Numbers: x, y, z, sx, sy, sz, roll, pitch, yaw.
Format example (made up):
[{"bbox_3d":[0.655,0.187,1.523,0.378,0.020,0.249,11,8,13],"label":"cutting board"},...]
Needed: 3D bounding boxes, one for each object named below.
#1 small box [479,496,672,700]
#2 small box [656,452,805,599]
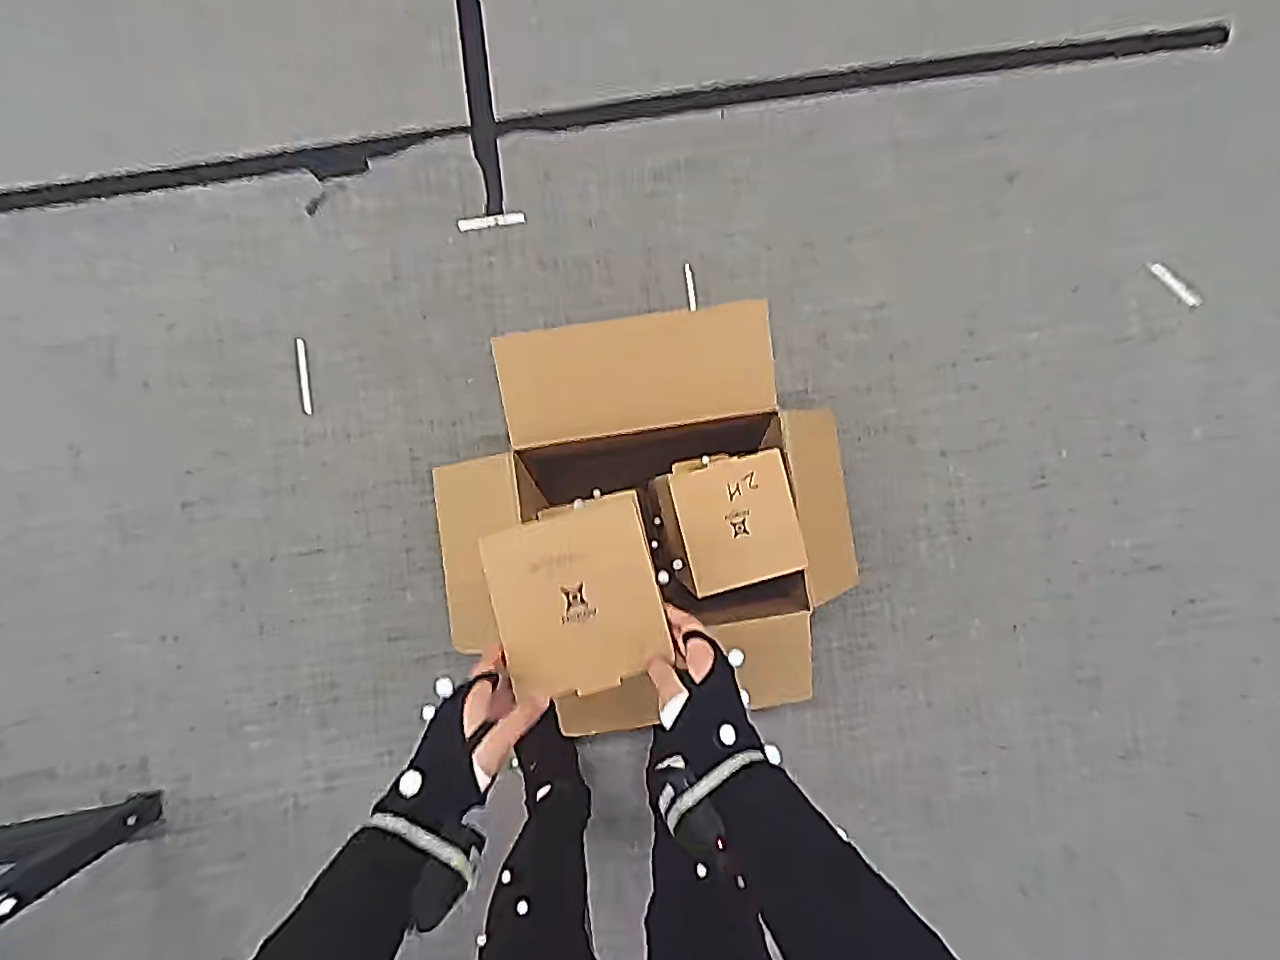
[{"bbox_3d":[-0.063,0.123,0.625,0.168,0.176,0.179,-15,85,0],"label":"small box"},{"bbox_3d":[0.128,0.064,0.827,0.168,0.176,0.179,-14,89,-5],"label":"small box"}]
